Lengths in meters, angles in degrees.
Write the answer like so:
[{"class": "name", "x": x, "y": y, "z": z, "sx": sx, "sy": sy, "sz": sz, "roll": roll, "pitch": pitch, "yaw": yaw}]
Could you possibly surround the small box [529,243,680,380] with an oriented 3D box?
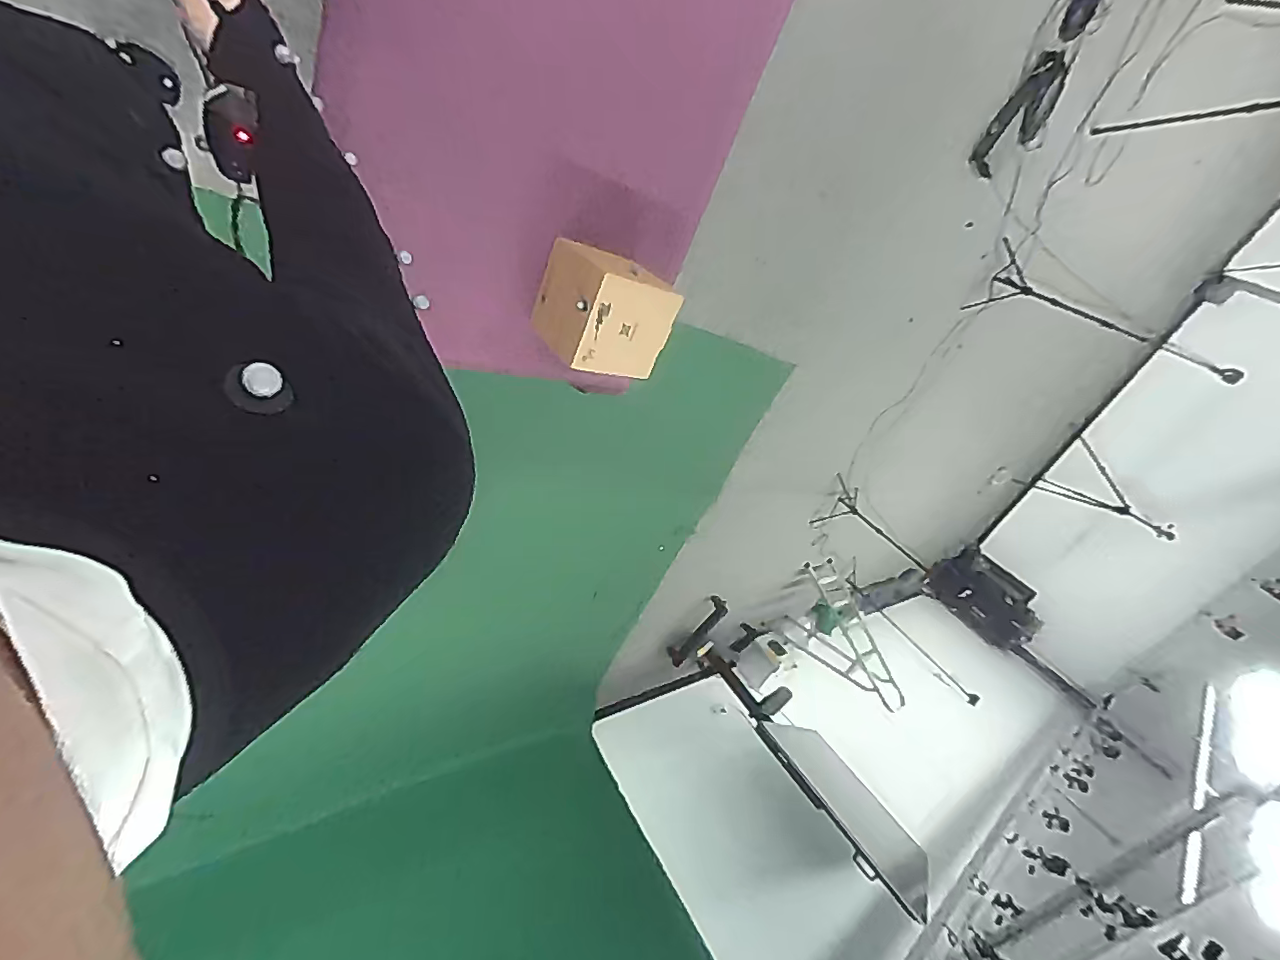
[{"class": "small box", "x": -0.068, "y": -0.297, "z": 0.959, "sx": 0.179, "sy": 0.176, "sz": 0.168, "roll": -2, "pitch": 127, "yaw": -42}]
